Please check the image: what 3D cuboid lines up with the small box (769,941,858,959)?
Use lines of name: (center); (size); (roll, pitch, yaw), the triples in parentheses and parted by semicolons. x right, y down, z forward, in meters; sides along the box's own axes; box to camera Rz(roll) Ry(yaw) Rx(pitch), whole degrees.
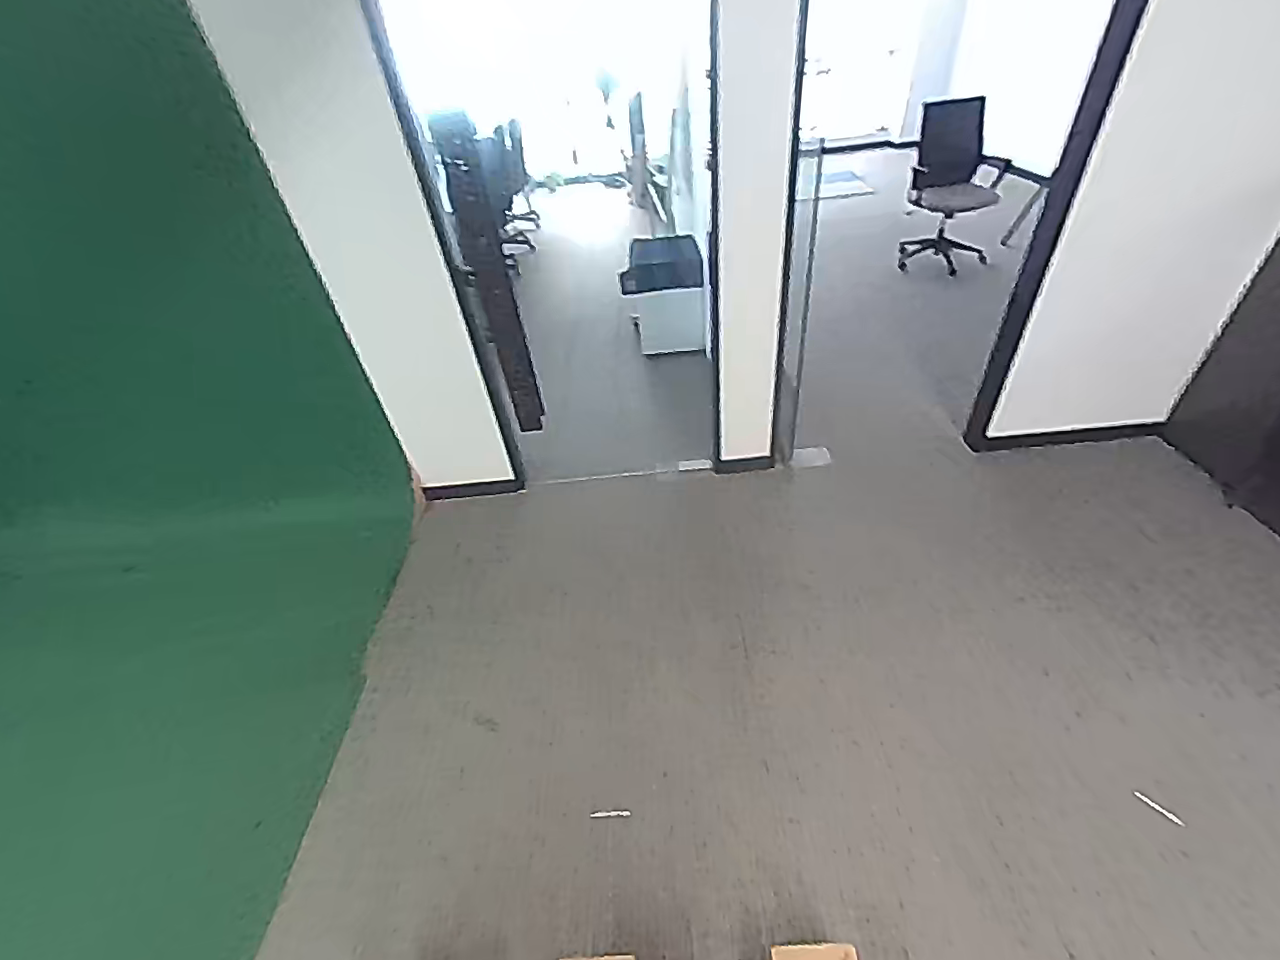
small box: (0.365, 1.069, 1.105); (0.179, 0.176, 0.168); (-5, 40, 3)
